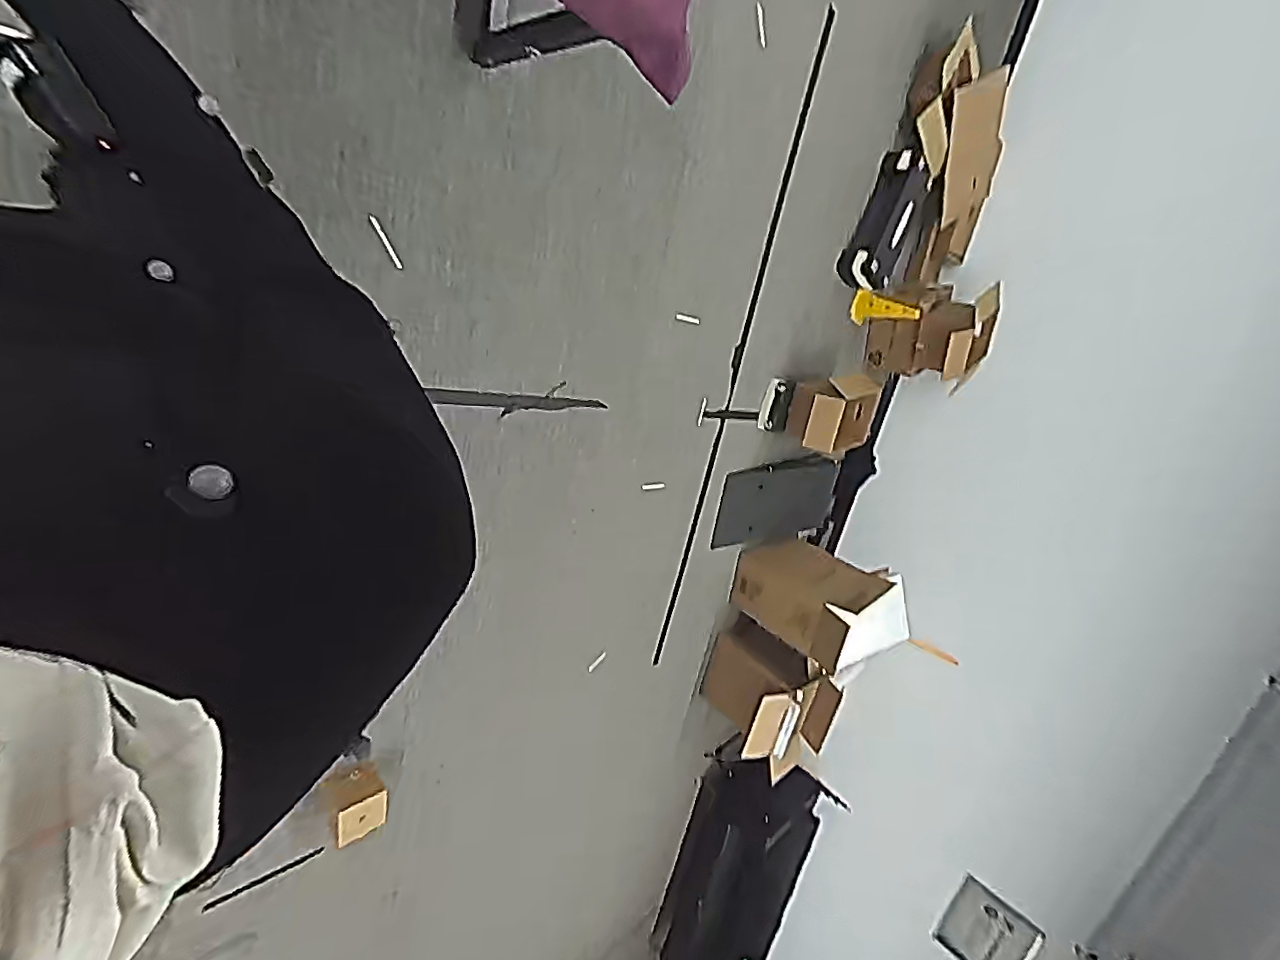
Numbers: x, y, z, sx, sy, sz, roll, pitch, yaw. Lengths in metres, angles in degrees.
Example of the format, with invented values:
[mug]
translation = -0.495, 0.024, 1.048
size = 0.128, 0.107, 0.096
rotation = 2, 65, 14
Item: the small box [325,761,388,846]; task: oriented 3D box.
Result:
[small box]
translation = -1.058, 1.199, 2.015
size = 0.168, 0.176, 0.179
rotation = -9, 118, -44
